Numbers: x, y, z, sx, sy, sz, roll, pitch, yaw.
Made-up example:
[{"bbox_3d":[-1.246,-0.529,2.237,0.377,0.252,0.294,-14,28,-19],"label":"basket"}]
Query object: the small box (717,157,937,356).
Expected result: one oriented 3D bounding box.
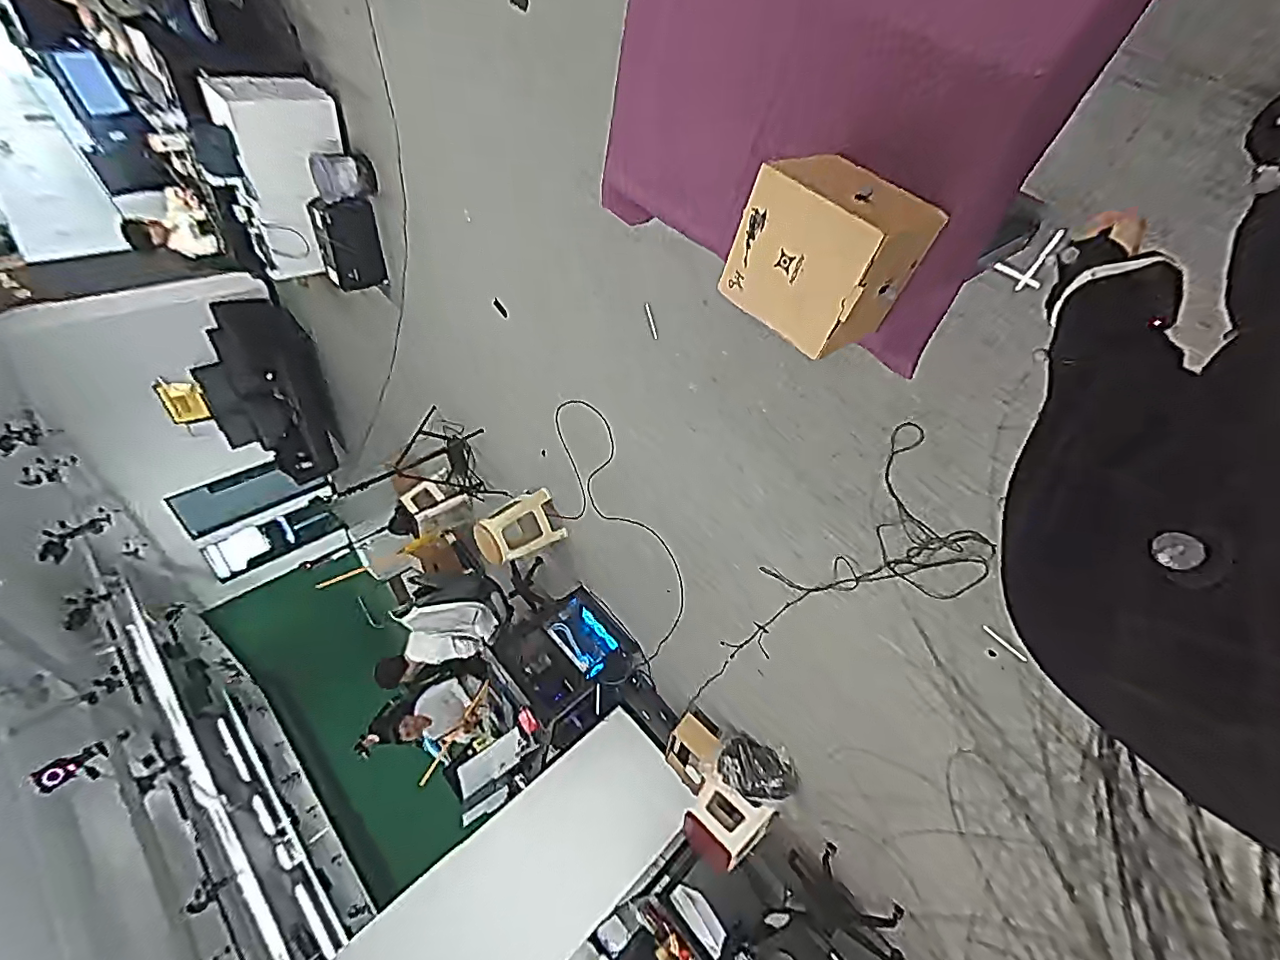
[{"bbox_3d":[0.236,-0.293,0.694,0.179,0.176,0.168,44,142,21],"label":"small box"}]
